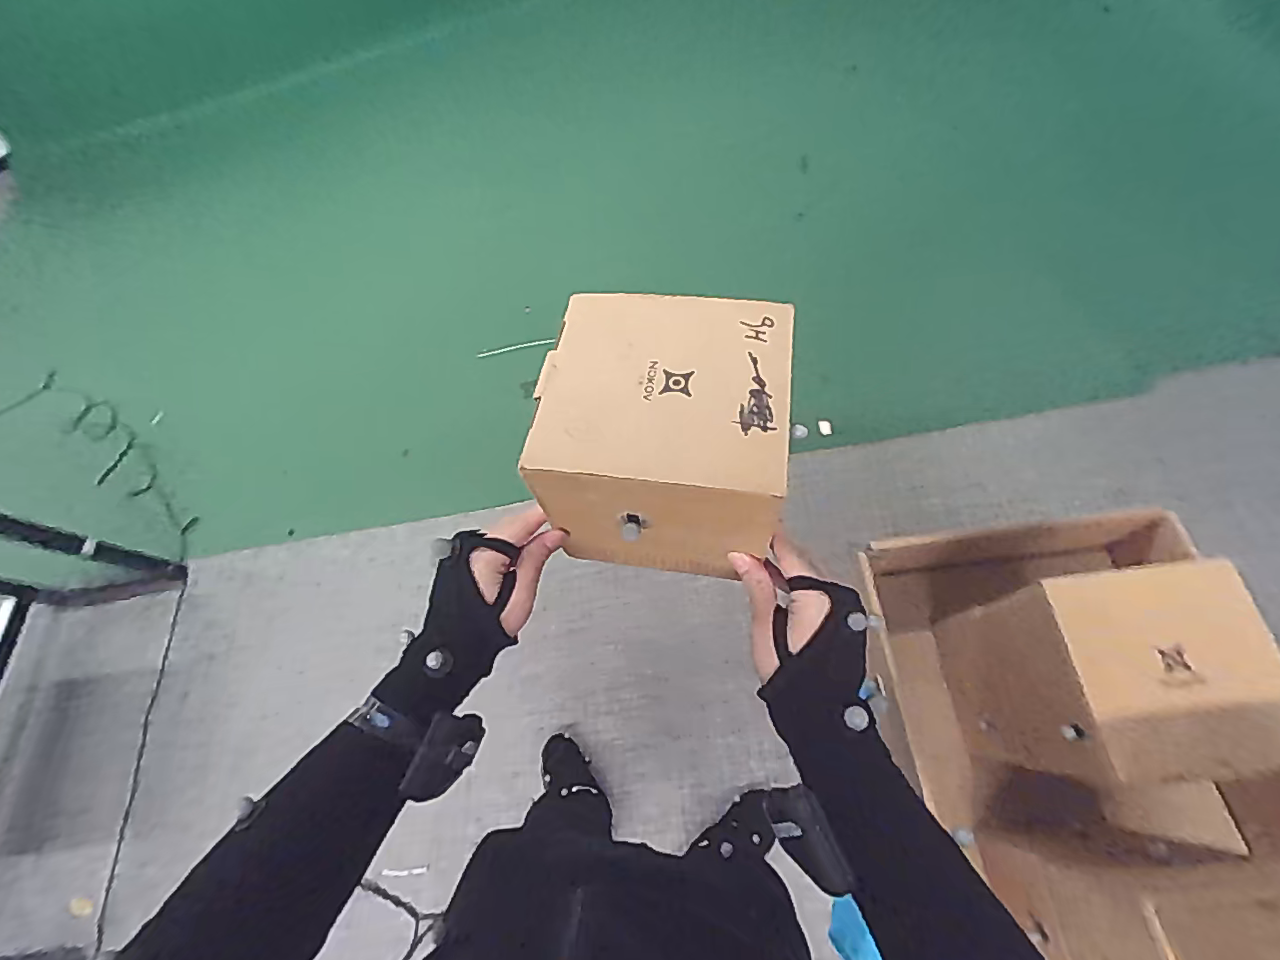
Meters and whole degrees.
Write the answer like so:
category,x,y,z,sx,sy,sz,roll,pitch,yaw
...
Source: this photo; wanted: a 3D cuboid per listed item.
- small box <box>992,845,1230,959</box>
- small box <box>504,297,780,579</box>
category,x,y,z,sx,sy,sz,roll,pitch,yaw
small box,0.508,0.493,0.564,0.168,0.176,0.179,-8,62,7
small box,0.016,-0.028,0.447,0.179,0.176,0.168,5,61,10
